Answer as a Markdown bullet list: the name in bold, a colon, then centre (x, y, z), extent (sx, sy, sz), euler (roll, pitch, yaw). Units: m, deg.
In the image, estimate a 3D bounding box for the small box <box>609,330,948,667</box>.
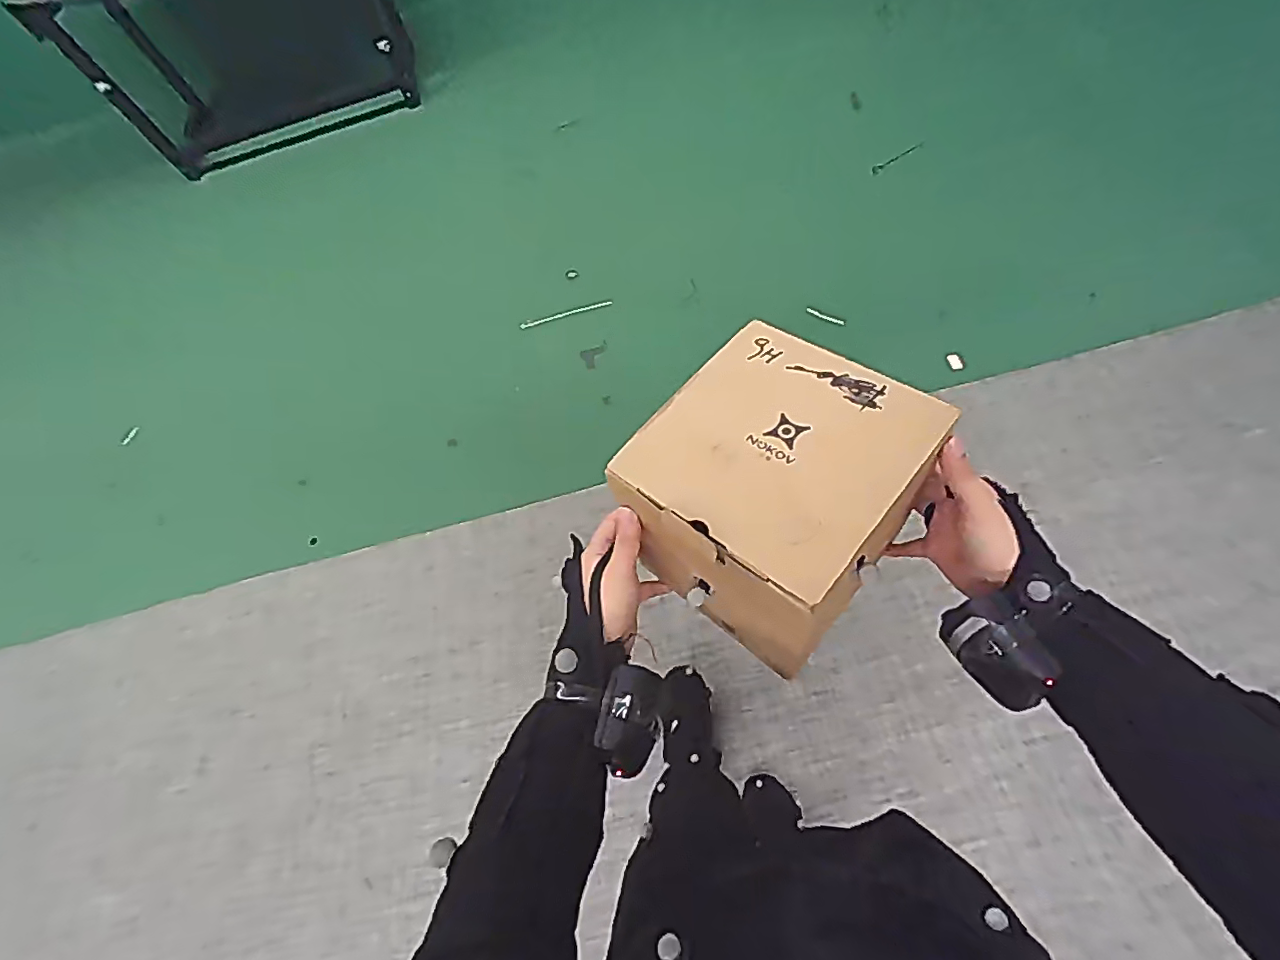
- **small box**: centre (0.106, 0.021, 0.437), extent (0.168, 0.176, 0.179), euler (35, 71, 28)
